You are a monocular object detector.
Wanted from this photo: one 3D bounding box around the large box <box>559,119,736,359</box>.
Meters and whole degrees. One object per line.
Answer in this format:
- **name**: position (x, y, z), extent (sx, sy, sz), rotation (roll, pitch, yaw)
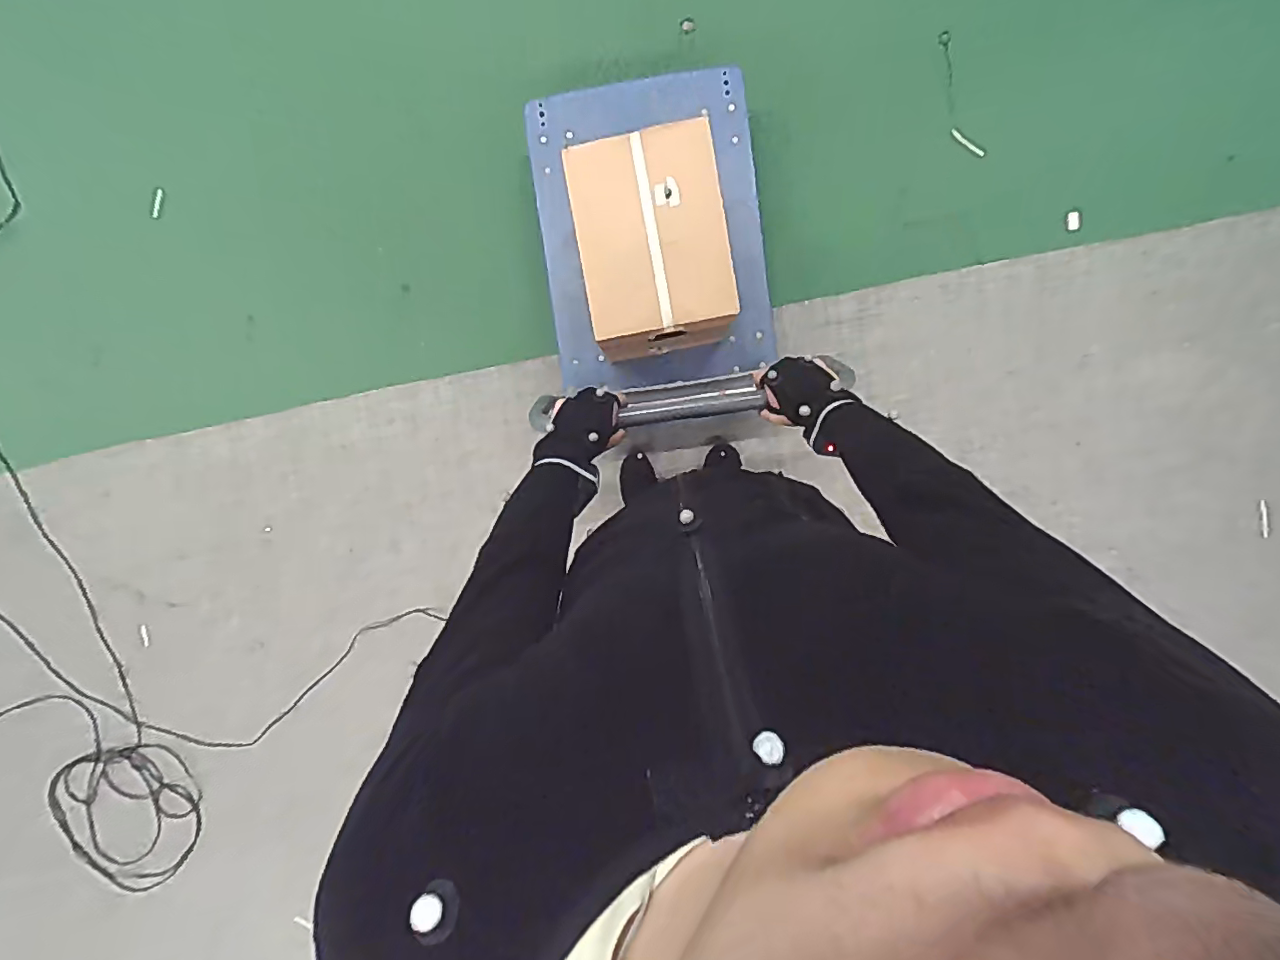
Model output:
- **large box**: position (0.026, -0.533, 1.281), extent (0.320, 0.320, 0.408), rotation (-10, 94, 3)
